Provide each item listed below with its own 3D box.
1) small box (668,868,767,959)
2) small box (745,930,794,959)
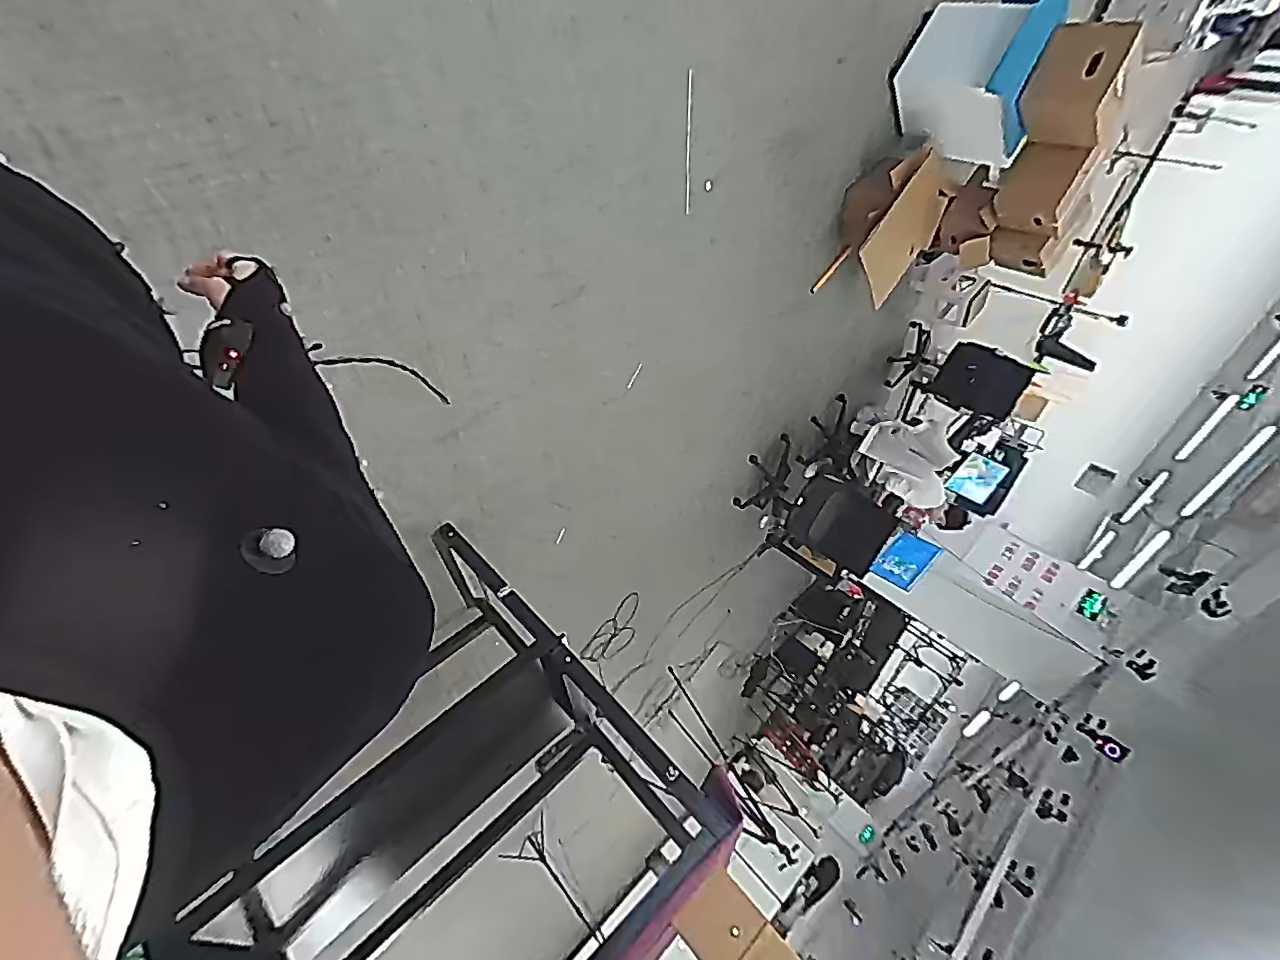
[{"bbox_3d":[0.188,1.113,1.344,0.179,0.176,0.168,-36,143,-25],"label":"small box"},{"bbox_3d":[0.300,1.197,1.261,0.168,0.176,0.179,-37,145,-24],"label":"small box"}]
